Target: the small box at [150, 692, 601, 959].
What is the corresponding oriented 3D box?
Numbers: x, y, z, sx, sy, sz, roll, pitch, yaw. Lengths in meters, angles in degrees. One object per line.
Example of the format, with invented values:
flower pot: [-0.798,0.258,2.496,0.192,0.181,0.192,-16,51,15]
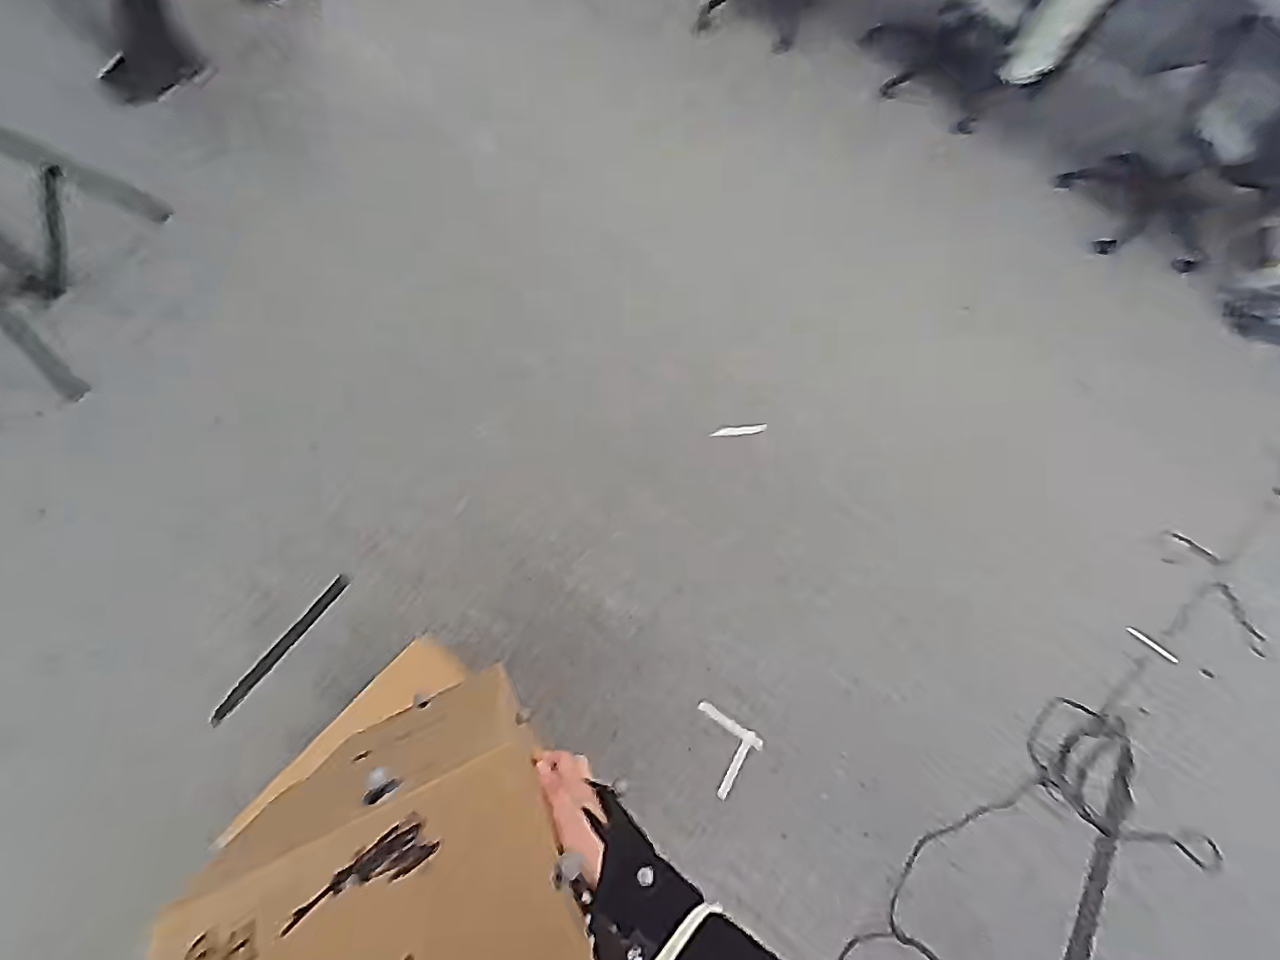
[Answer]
small box: [-0.125,0.258,0.325,0.168,0.176,0.179,-21,87,-17]
